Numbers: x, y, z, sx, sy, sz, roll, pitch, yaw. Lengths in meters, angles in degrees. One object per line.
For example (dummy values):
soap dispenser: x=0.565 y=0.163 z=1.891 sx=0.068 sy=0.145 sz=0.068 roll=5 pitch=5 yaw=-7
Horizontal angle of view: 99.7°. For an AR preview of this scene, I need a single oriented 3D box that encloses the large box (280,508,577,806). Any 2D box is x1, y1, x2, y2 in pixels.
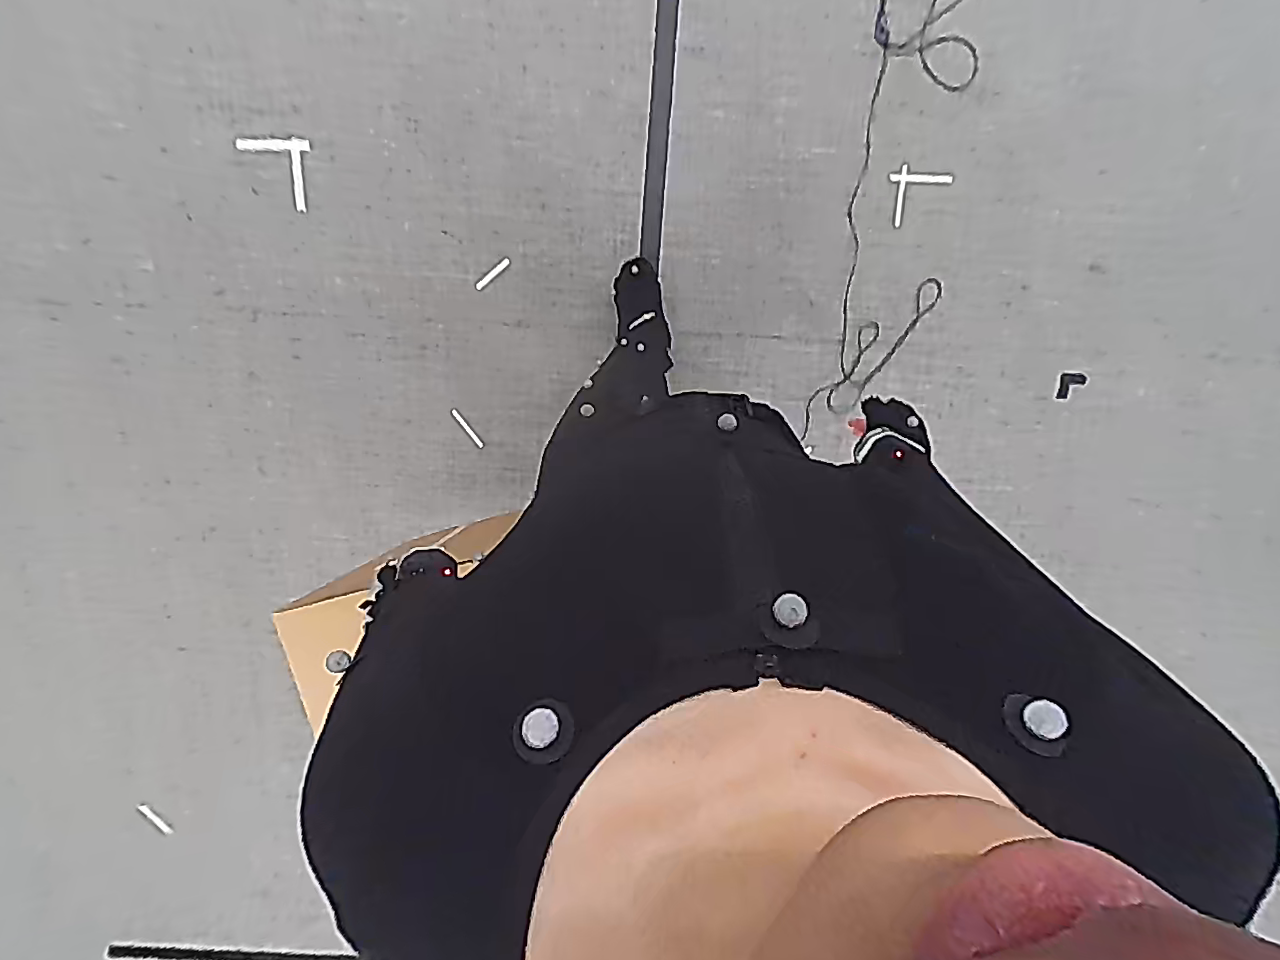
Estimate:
large box: x=-0.312 y=0.265 z=0.946 sx=0.320 sy=0.408 sz=0.320 roll=-16 pitch=97 yaw=2
